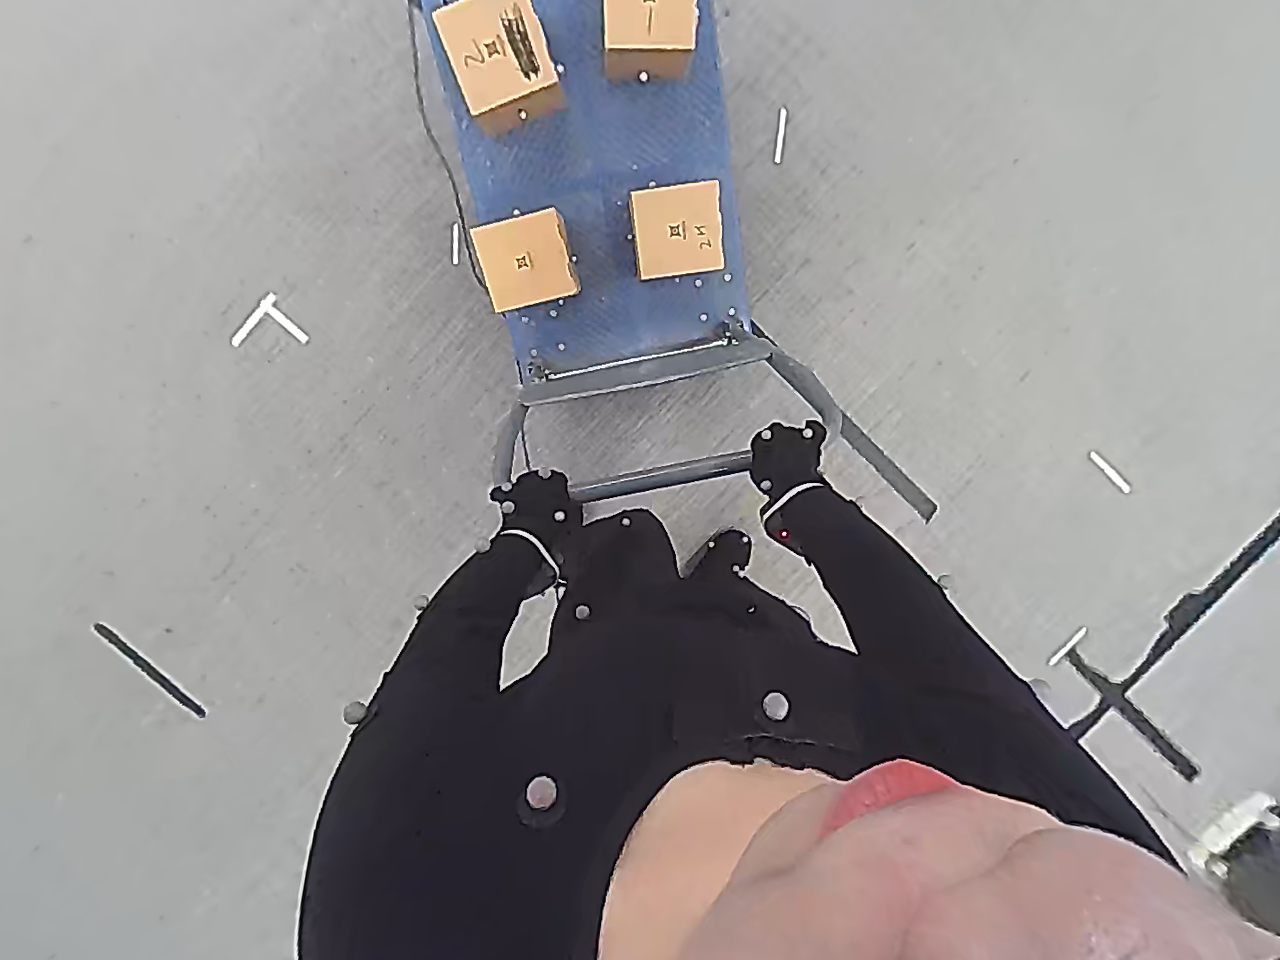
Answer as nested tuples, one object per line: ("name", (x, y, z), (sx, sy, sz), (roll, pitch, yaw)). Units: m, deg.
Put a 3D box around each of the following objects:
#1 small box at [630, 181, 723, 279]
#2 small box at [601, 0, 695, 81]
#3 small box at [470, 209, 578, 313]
("small box", (0.073, -0.525, 1.156), (0.179, 0.176, 0.168), (-8, 111, 0))
("small box", (0.010, -0.885, 1.018), (0.168, 0.176, 0.179), (-2, 112, -3))
("small box", (-0.239, -0.463, 1.162), (0.179, 0.176, 0.168), (-15, 110, 1))
